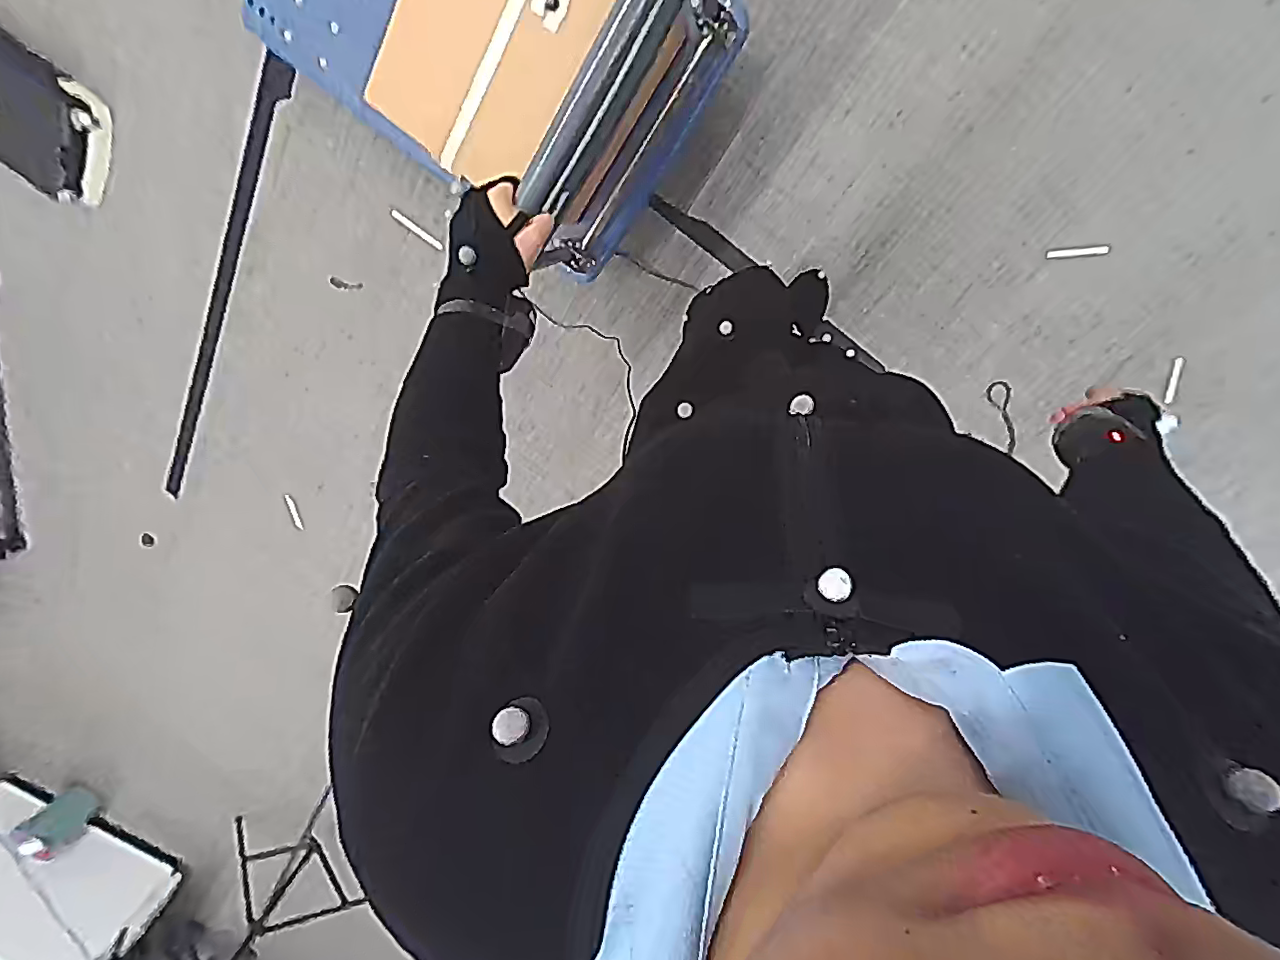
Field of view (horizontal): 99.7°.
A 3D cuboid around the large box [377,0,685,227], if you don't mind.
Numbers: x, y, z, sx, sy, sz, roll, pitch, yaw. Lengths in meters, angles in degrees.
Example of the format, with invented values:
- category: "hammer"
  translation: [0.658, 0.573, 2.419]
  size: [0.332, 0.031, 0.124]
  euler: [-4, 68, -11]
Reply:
- category: "large box"
  translation: [-0.168, -0.712, 0.933]
  size: [0.320, 0.320, 0.408]
  euler: [35, 114, -8]
